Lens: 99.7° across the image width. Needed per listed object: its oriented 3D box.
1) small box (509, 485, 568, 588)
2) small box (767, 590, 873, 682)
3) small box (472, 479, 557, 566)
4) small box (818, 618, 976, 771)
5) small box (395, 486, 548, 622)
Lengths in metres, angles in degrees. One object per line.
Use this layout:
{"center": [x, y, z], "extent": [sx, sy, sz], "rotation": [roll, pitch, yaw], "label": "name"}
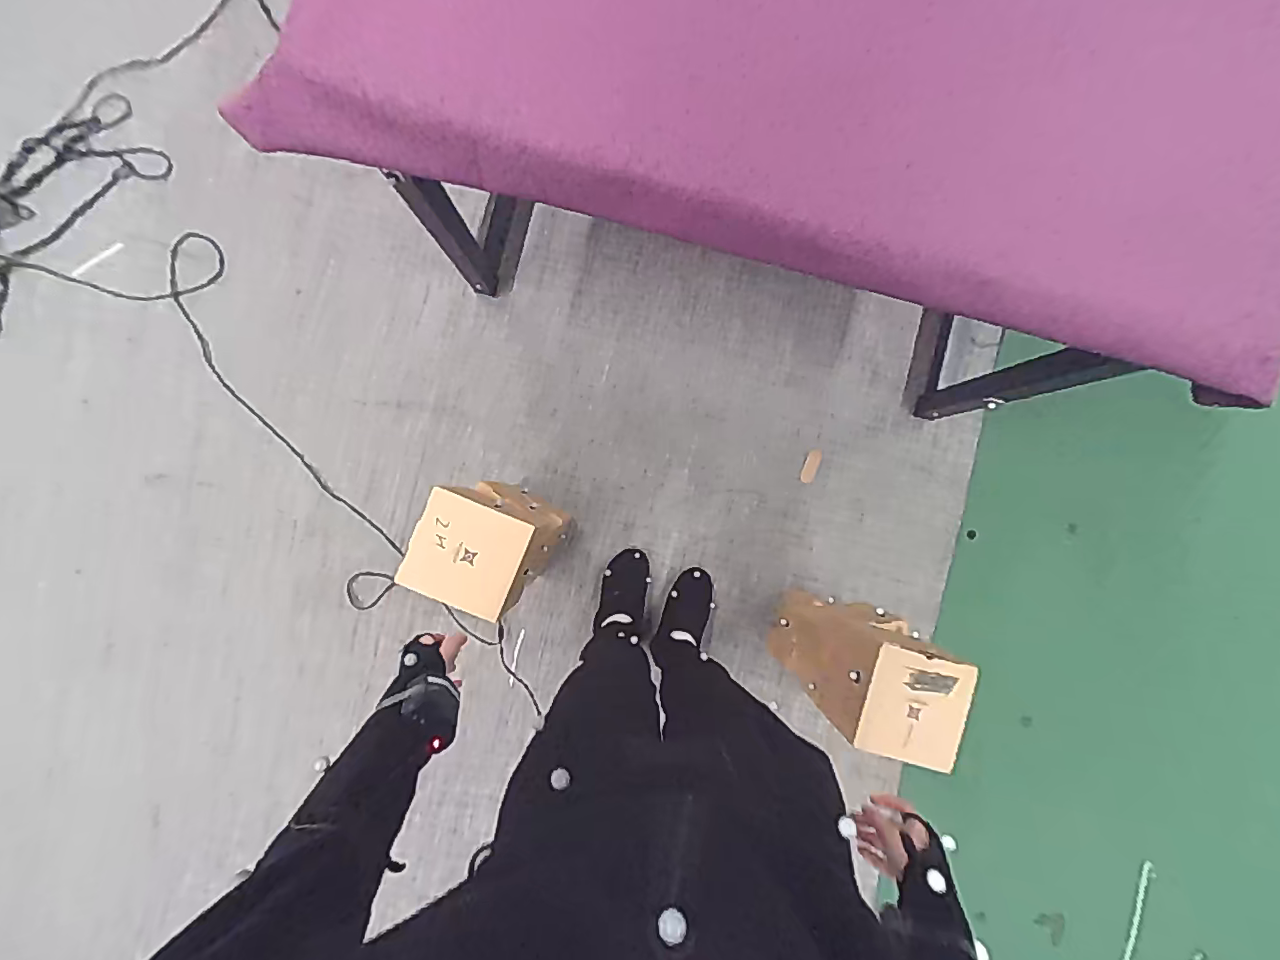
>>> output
{"center": [-0.280, 0.120, 1.249], "extent": [0.168, 0.176, 0.179], "rotation": [30, 89, 0], "label": "small box"}
{"center": [0.420, 0.369, 1.262], "extent": [0.179, 0.176, 0.168], "rotation": [25, 89, -1], "label": "small box"}
{"center": [-0.284, 0.117, 1.088], "extent": [0.168, 0.176, 0.179], "rotation": [35, 88, 1], "label": "small box"}
{"center": [0.430, 0.356, 0.934], "extent": [0.168, 0.176, 0.179], "rotation": [16, 90, -2], "label": "small box"}
{"center": [-0.273, 0.117, 0.923], "extent": [0.179, 0.176, 0.168], "rotation": [23, 87, 0], "label": "small box"}
